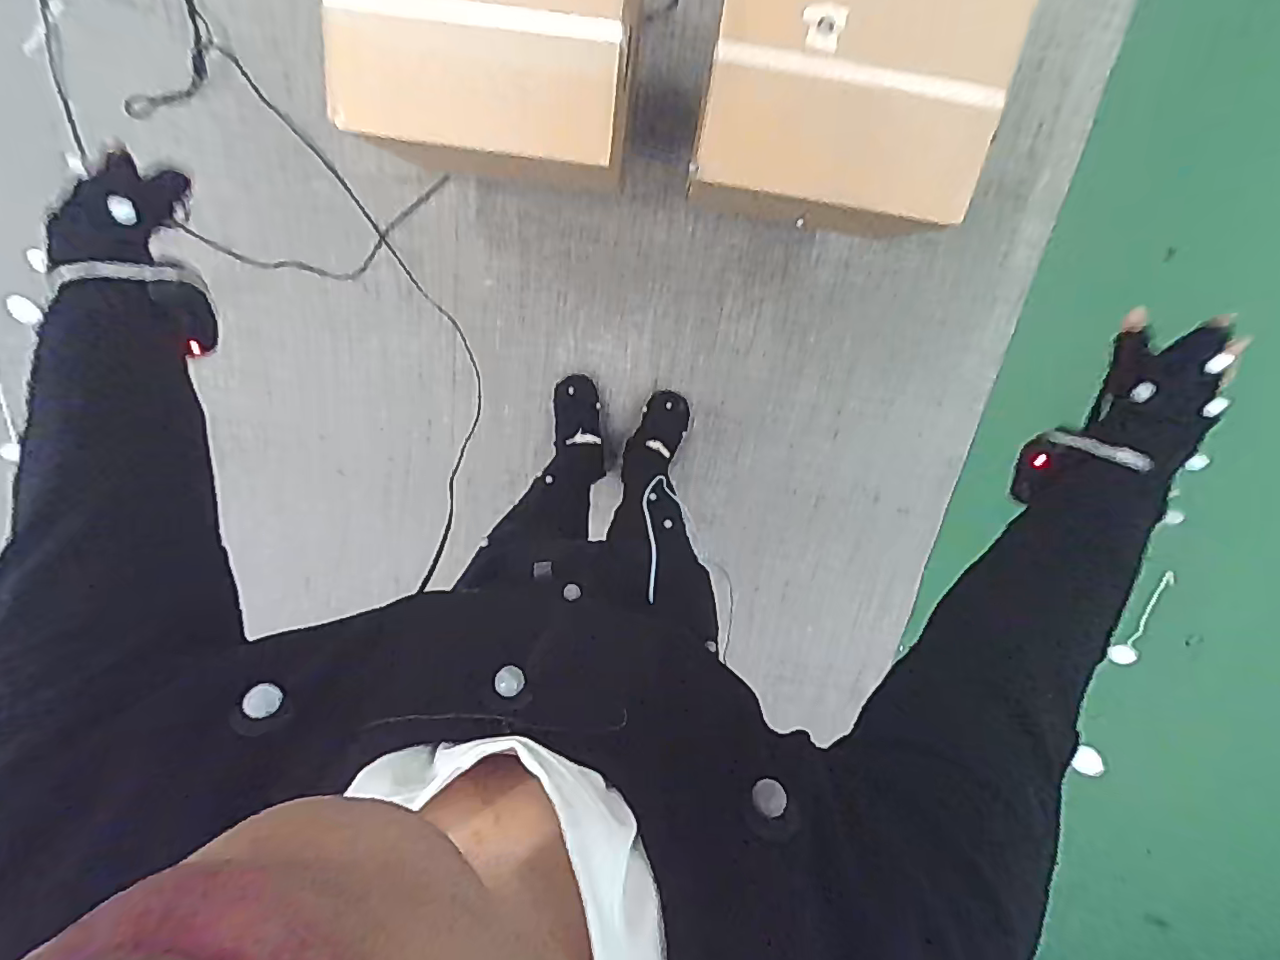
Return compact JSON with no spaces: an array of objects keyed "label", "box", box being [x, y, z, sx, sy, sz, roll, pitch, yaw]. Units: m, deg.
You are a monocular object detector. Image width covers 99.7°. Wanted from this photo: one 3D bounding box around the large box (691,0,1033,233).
[{"label":"large box","box":[0.314,-0.609,0.894,0.408,0.320,0.320,10,110,-1]}]
